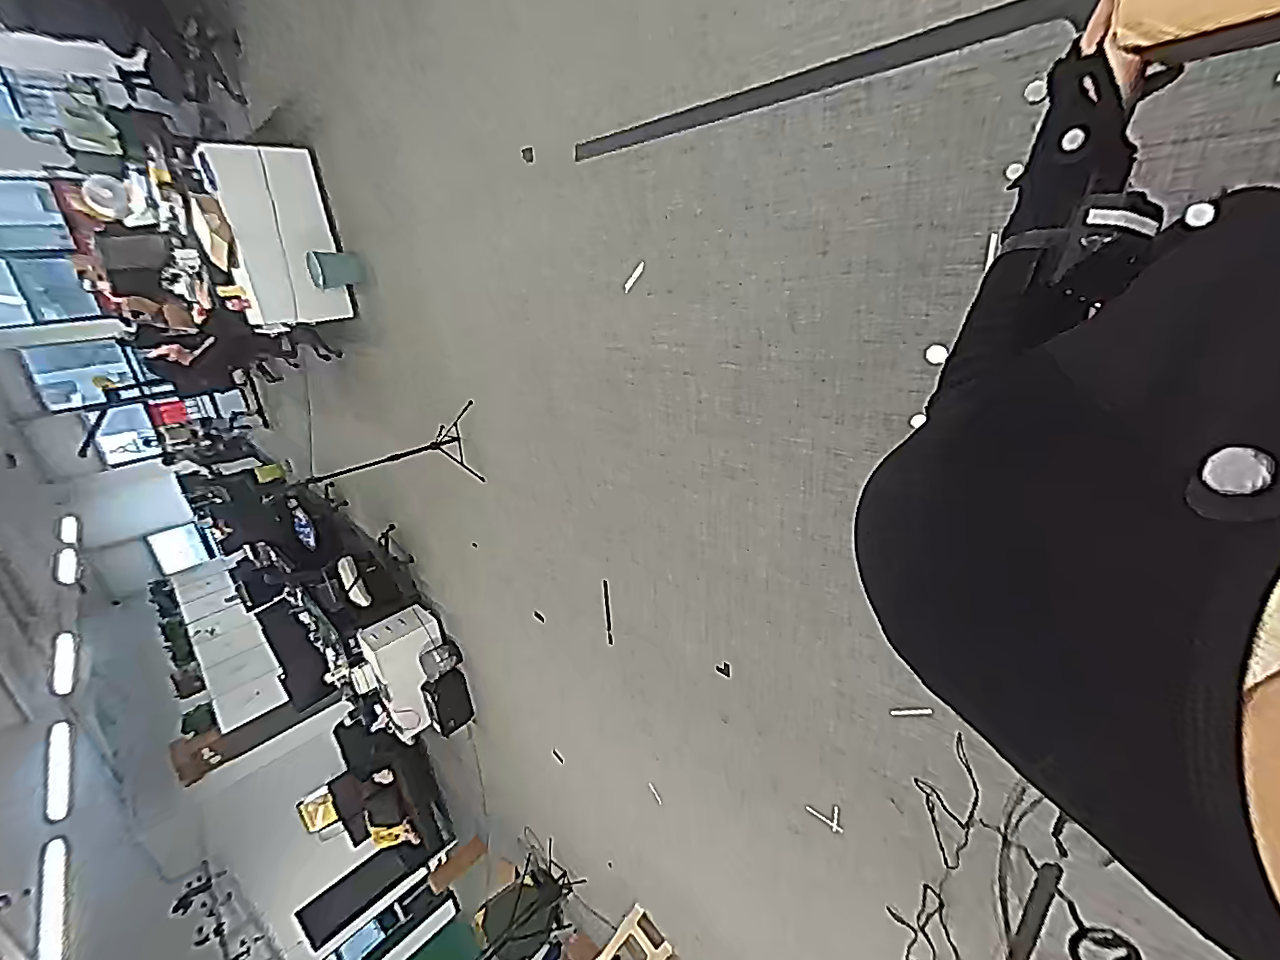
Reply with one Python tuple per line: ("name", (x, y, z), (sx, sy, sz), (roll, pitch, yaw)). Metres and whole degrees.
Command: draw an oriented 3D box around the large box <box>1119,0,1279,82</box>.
("large box", (0.411, -0.345, 0.130), (0.408, 0.320, 0.320), (12, 125, 41))
